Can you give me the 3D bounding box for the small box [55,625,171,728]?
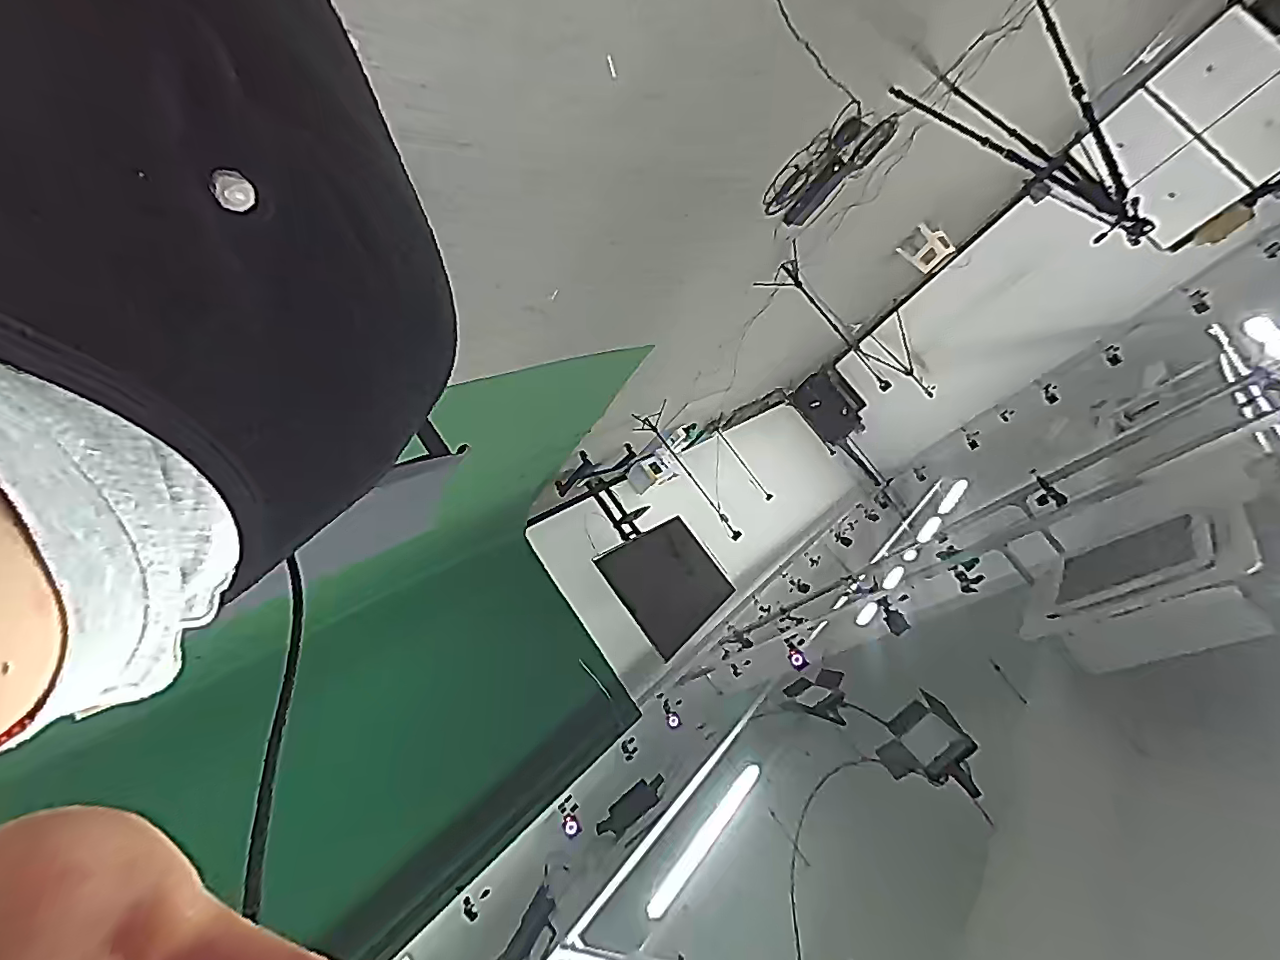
[{"bbox_3d":[-1.392,0.516,1.436,0.179,0.176,0.168,-26,165,-49],"label":"small box"}]
